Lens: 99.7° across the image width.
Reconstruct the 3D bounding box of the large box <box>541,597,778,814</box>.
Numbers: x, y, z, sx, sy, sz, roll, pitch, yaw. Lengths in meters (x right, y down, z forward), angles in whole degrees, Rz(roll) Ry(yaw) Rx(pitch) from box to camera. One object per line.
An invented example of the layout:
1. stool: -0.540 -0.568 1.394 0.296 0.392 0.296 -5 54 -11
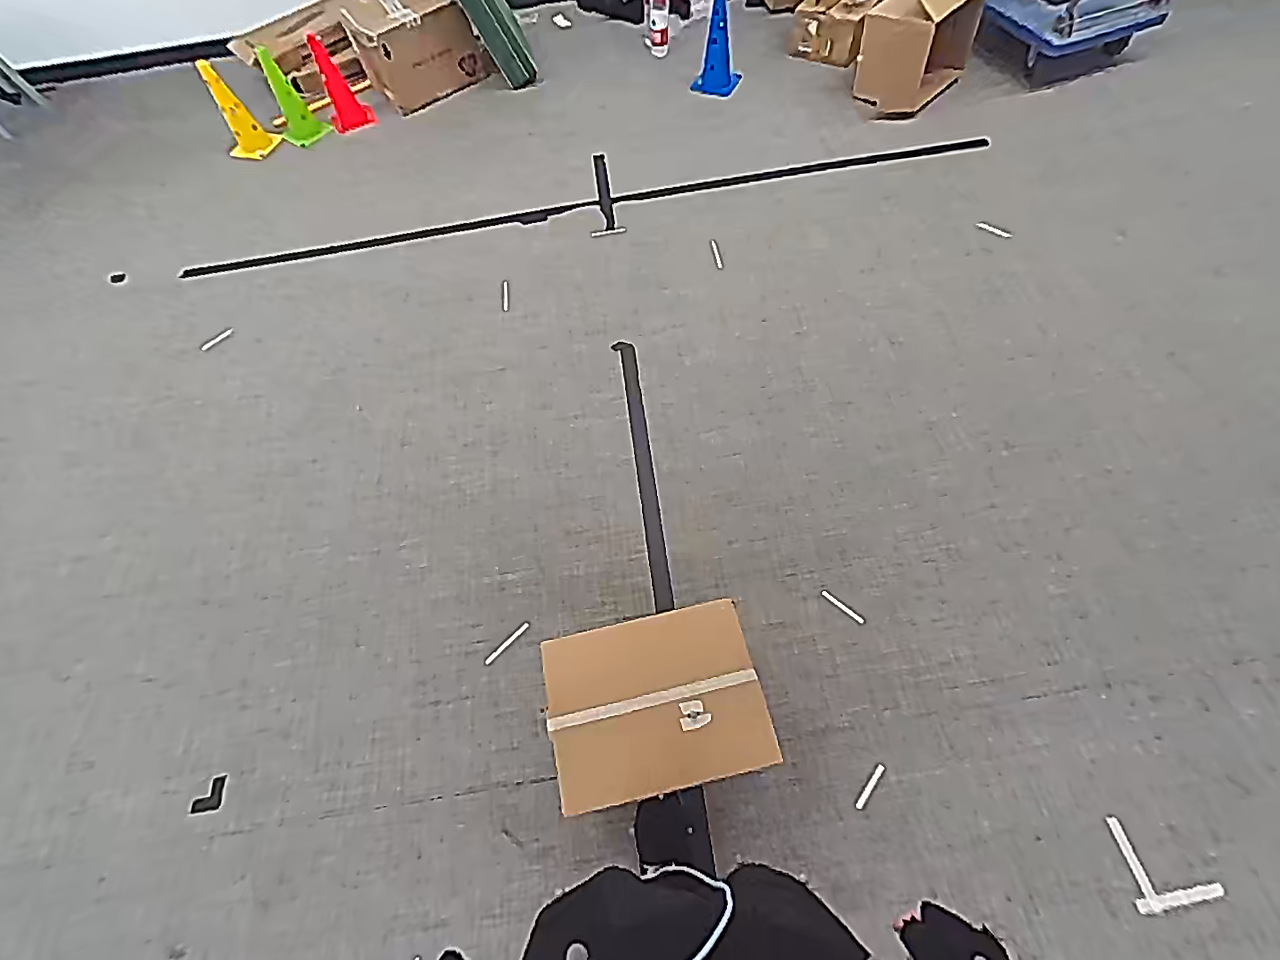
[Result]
1. large box: 0.032 0.485 1.159 0.408 0.320 0.320 -12 62 -3
